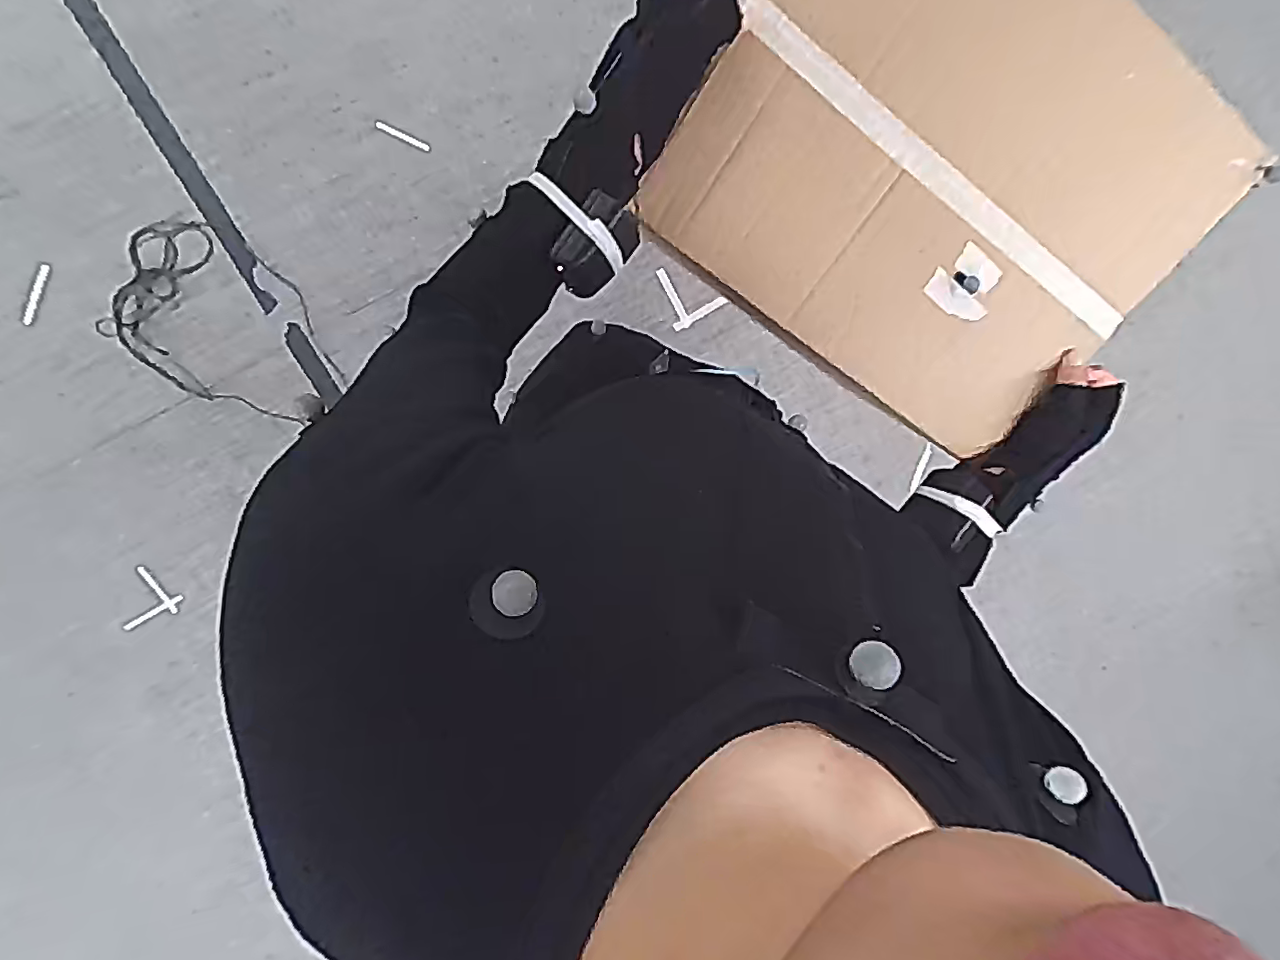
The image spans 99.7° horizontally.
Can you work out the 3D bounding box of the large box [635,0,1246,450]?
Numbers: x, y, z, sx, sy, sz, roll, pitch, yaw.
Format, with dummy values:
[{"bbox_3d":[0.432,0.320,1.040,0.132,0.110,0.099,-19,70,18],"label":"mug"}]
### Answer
[{"bbox_3d":[0.239,-0.301,0.576,0.408,0.320,0.320,32,110,-14],"label":"large box"}]
